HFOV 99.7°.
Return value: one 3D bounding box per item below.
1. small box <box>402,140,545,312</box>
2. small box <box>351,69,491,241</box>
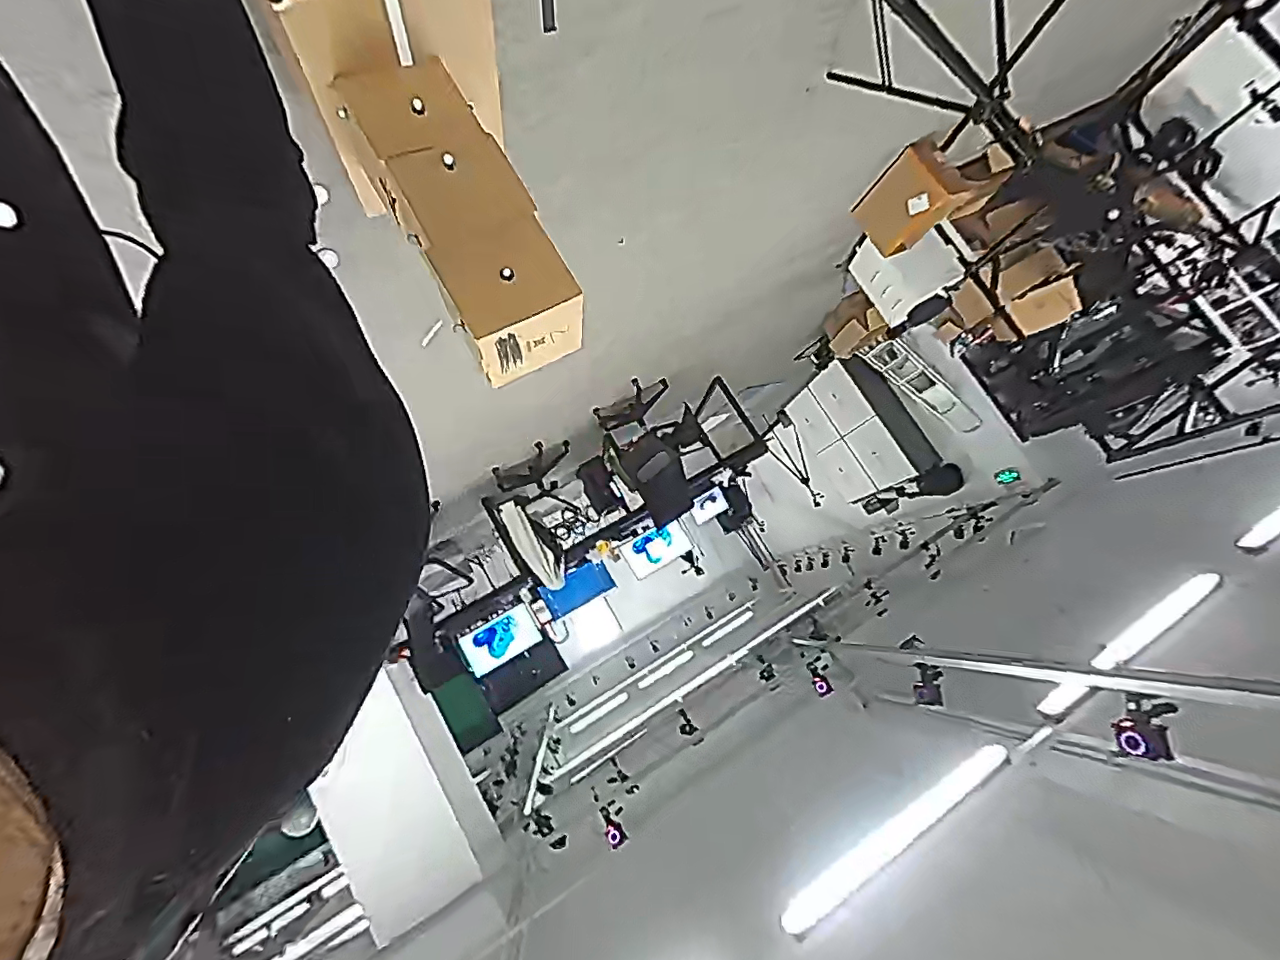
[{"bbox_3d":[-0.276,-0.423,0.907,0.179,0.176,0.168,-28,170,-15],"label":"small box"},{"bbox_3d":[-0.369,-0.556,0.930,0.179,0.176,0.168,-29,170,-18],"label":"small box"}]
